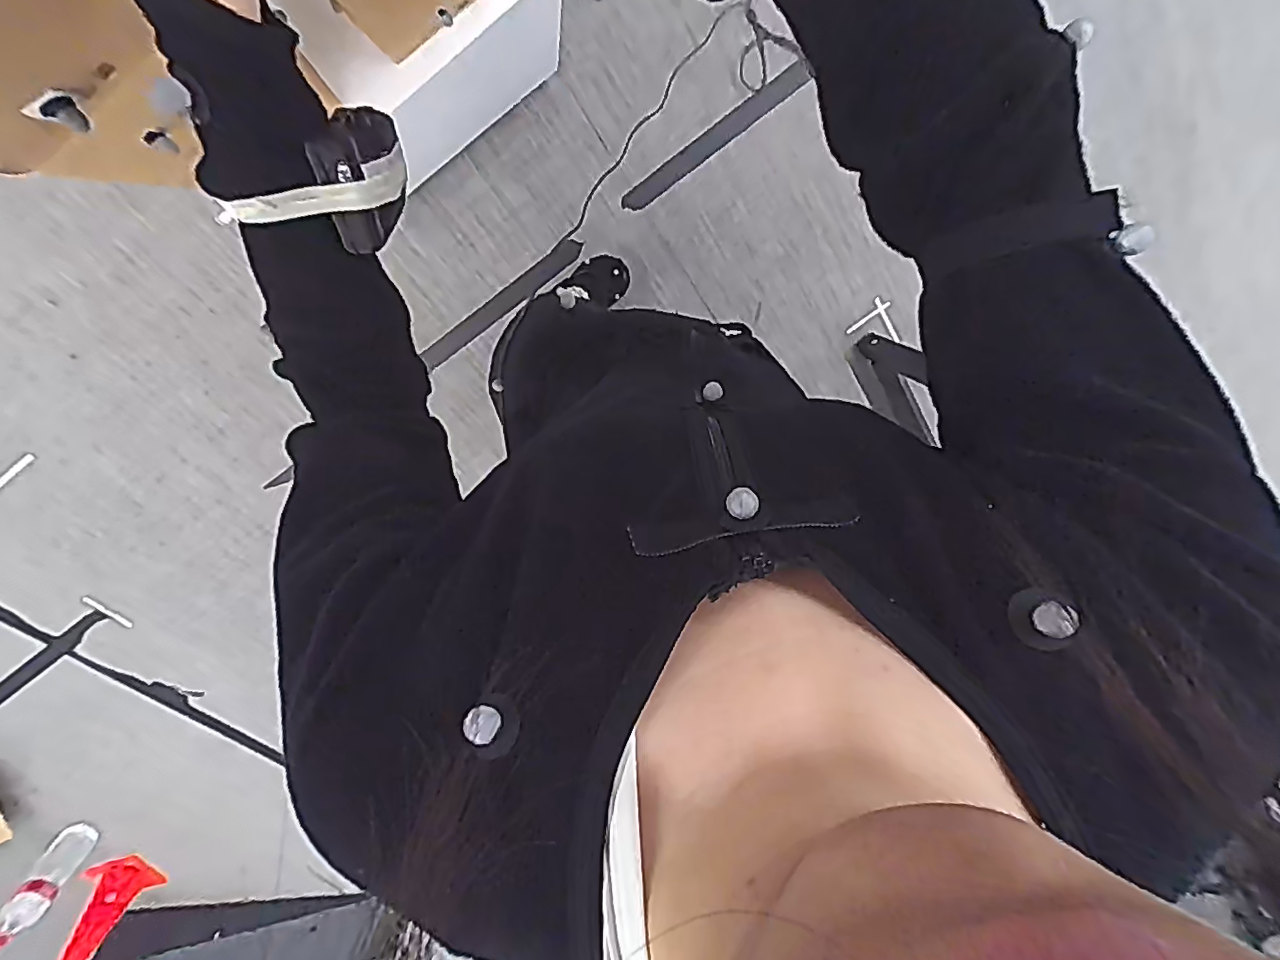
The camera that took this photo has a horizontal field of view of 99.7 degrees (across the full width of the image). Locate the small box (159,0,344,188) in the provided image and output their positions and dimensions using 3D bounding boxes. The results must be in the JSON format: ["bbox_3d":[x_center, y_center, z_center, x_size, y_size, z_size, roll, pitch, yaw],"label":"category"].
[{"bbox_3d":[-0.453,-0.430,0.555,0.168,0.176,0.179,-34,115,9],"label":"small box"}]

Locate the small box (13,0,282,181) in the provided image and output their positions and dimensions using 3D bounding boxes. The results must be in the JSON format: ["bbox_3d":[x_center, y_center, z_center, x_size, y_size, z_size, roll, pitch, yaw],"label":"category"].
[{"bbox_3d":[-0.427,-0.358,0.412,0.168,0.176,0.179,-36,116,9],"label":"small box"}]

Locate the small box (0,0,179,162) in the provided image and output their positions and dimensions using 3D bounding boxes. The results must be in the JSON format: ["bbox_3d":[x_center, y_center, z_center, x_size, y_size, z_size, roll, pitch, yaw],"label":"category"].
[{"bbox_3d":[-0.403,-0.290,0.266,0.168,0.176,0.179,-36,117,10],"label":"small box"}]
